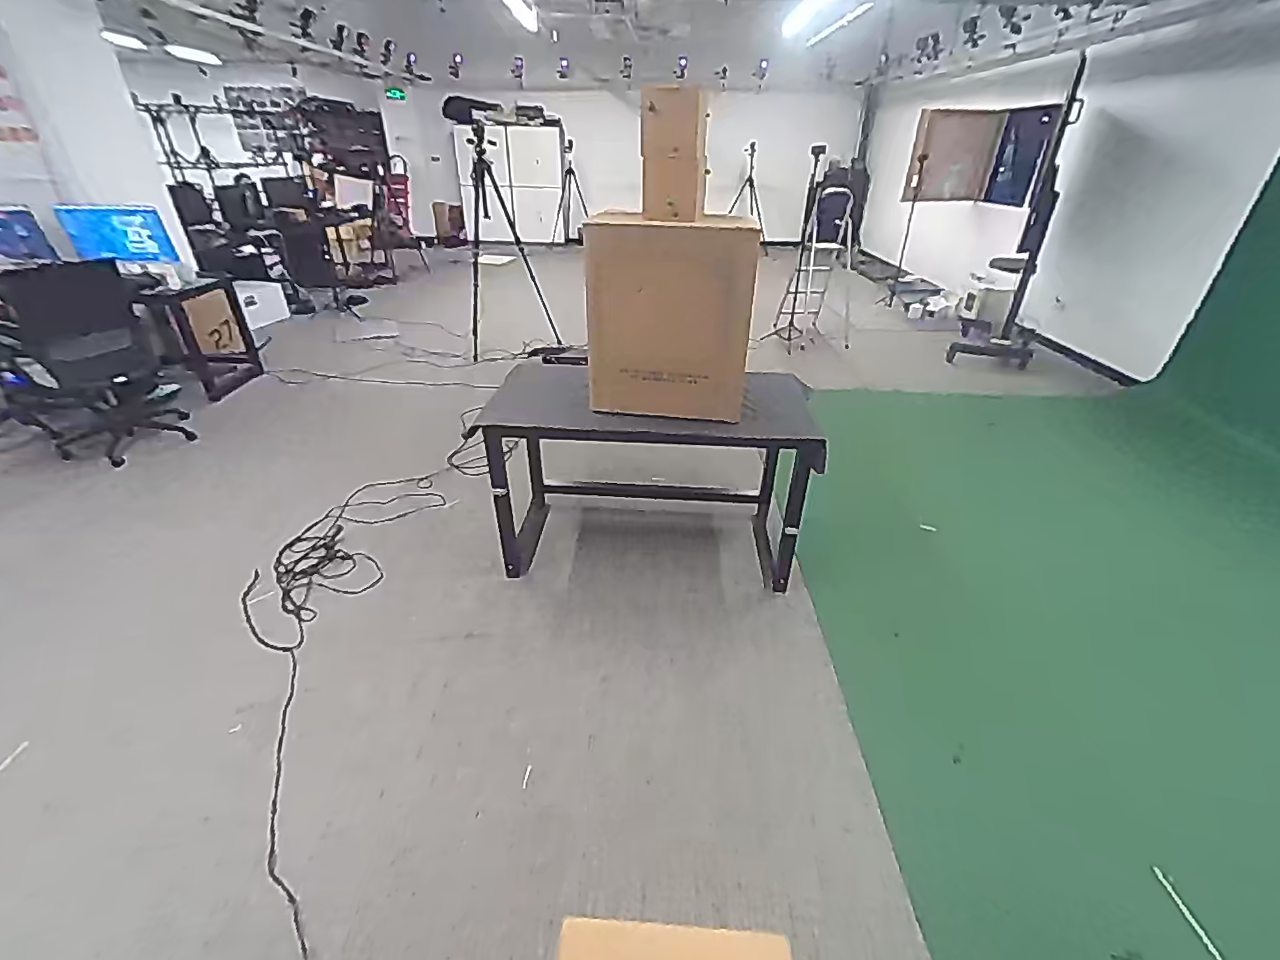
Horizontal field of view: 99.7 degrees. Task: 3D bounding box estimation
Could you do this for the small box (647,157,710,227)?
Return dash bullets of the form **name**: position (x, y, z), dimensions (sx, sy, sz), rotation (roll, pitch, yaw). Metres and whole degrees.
- **small box**: position (0.117, -0.890, 1.666), dimensions (0.168, 0.176, 0.179), rotation (9, 35, 11)
